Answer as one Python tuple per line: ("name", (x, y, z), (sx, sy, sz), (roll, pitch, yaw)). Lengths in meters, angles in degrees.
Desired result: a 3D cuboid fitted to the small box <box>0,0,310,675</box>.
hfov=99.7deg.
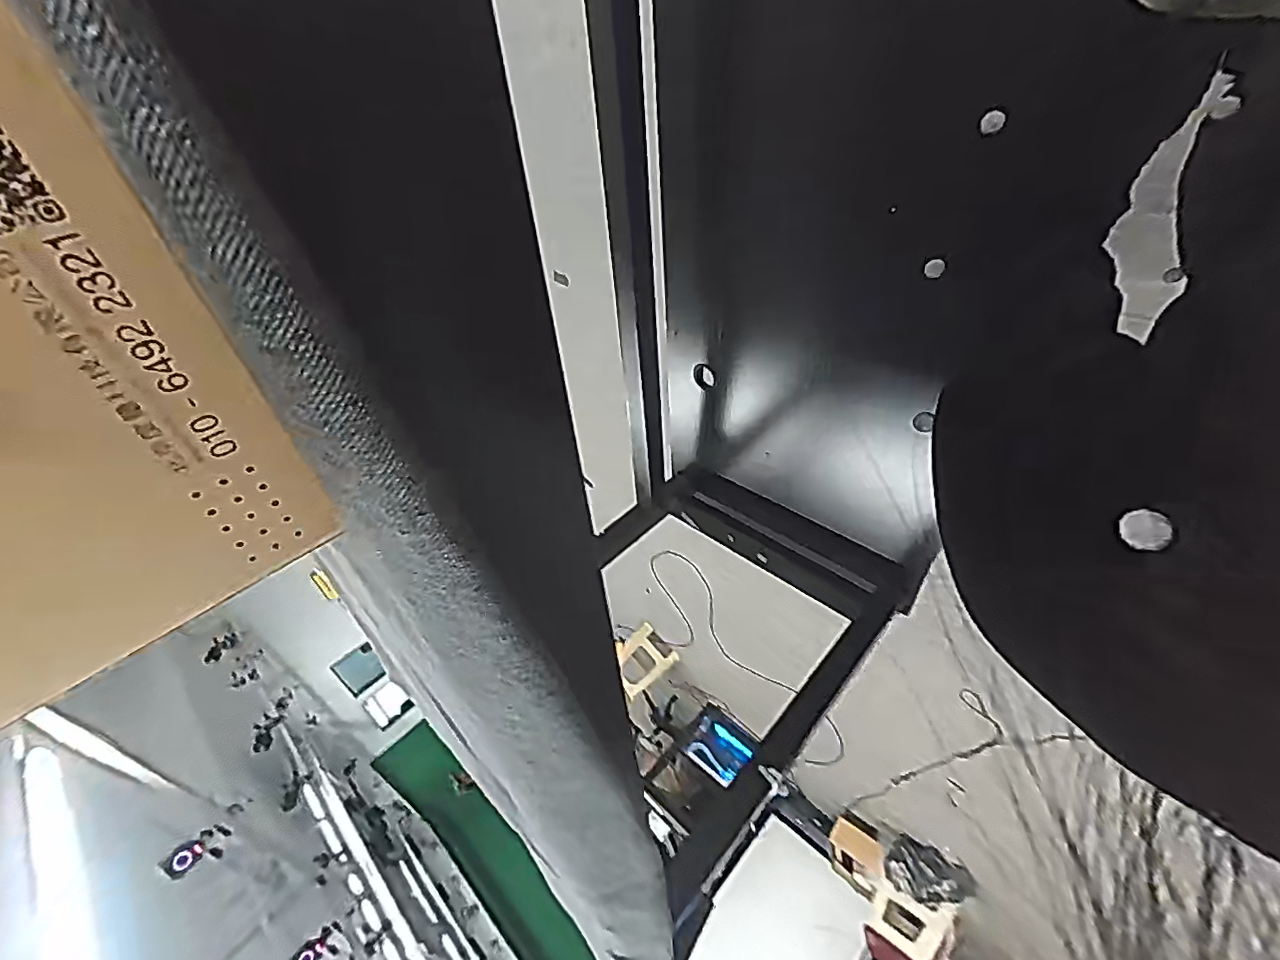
("small box", (-0.217, -0.042, 0.126), (0.179, 0.176, 0.168), (32, 144, 34))
